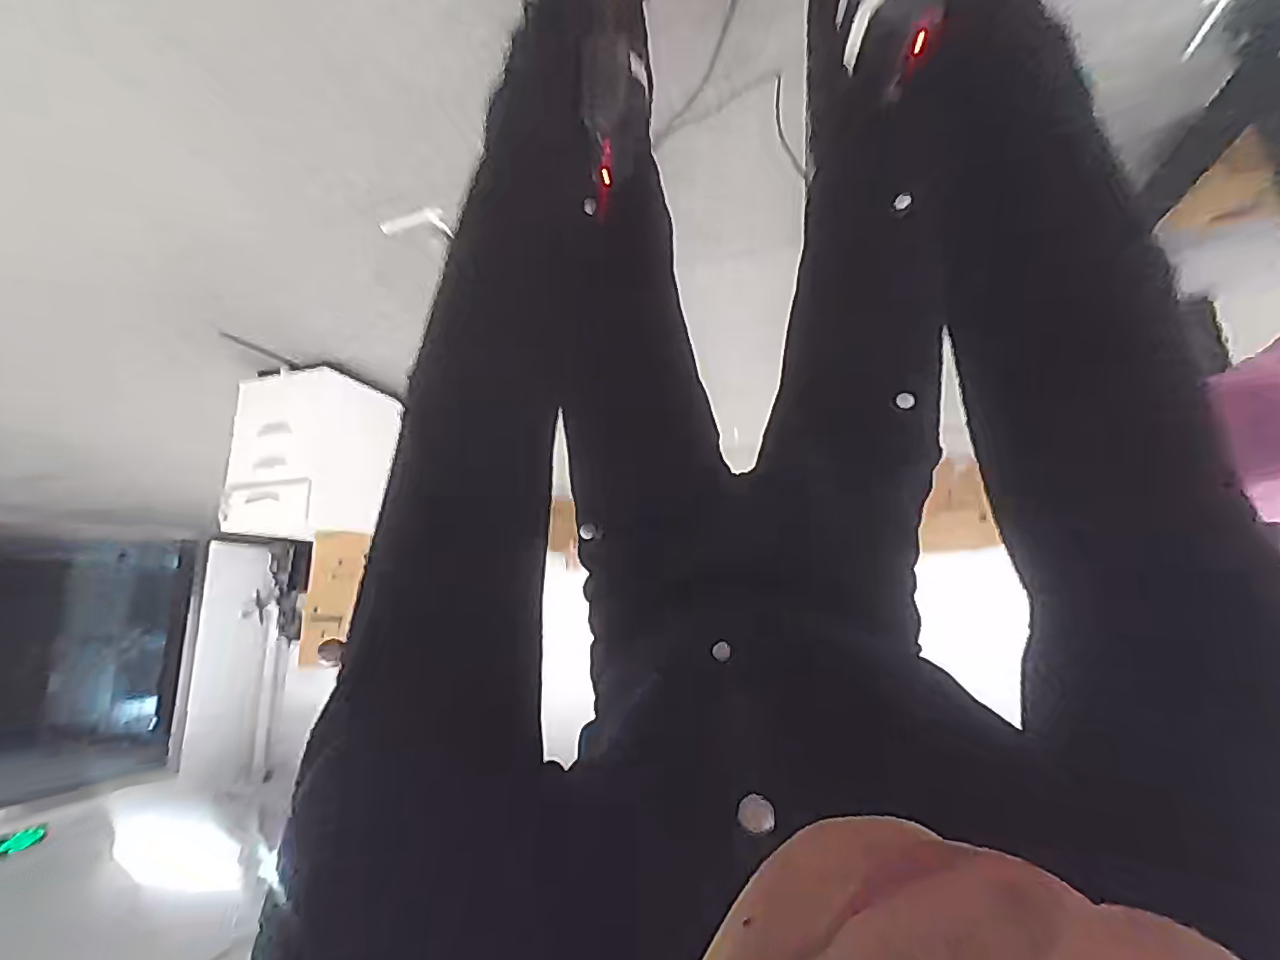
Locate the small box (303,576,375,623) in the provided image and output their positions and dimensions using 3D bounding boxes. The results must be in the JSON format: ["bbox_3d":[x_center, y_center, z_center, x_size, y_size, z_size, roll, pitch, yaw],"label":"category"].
[{"bbox_3d":[-1.147,0.459,2.074,0.179,0.176,0.168,-4,168,13],"label":"small box"}]

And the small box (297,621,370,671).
[{"bbox_3d":[-1.144,0.616,2.030,0.168,0.176,0.179,-3,167,14],"label":"small box"}]
